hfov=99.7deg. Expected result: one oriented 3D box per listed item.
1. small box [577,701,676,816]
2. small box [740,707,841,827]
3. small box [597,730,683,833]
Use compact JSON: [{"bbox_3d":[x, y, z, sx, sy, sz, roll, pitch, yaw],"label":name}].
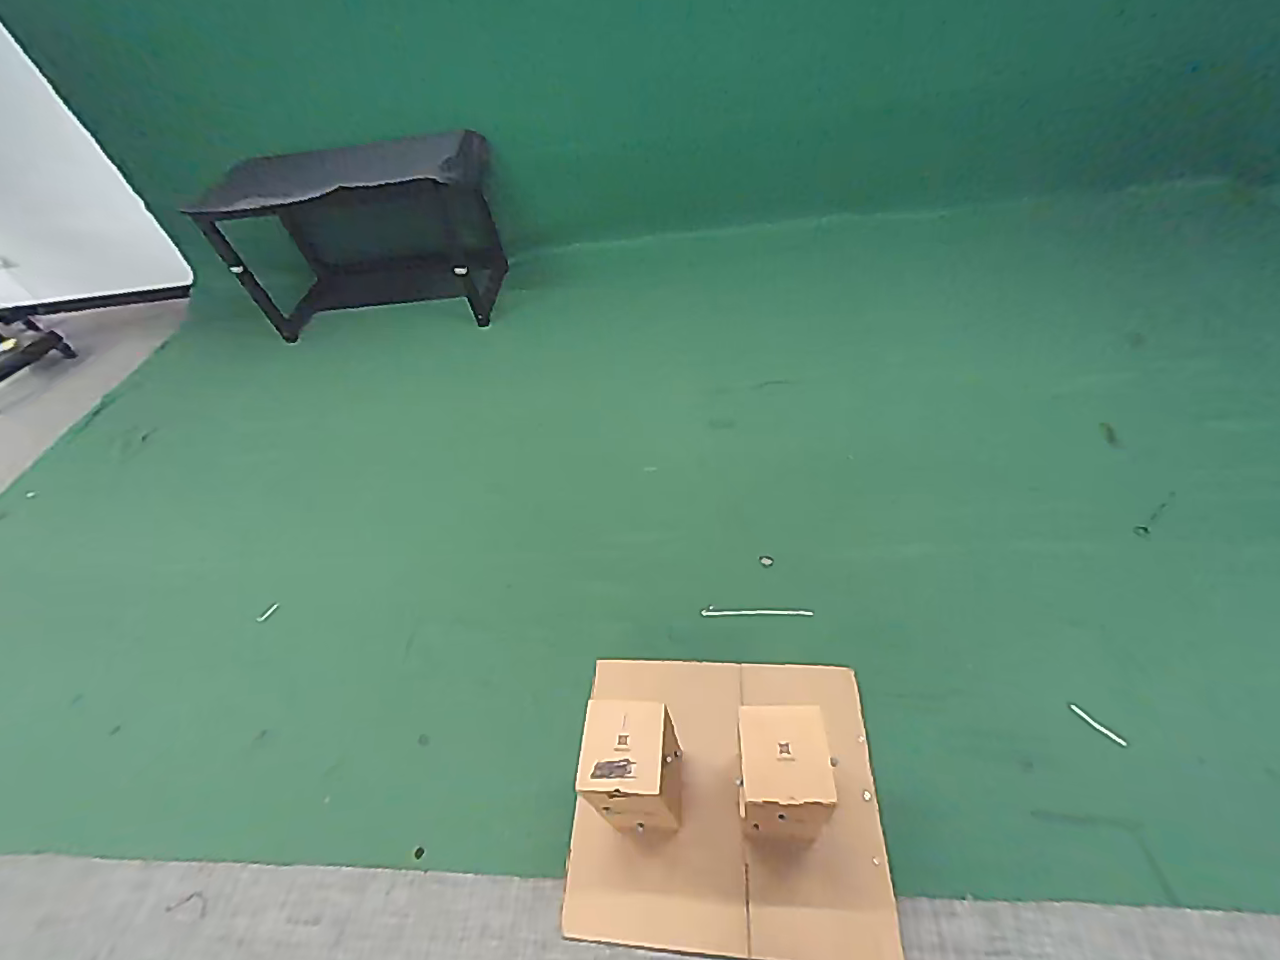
[{"bbox_3d":[-0.019,0.580,1.124,0.168,0.176,0.179,-2,47,11],"label":"small box"},{"bbox_3d":[0.288,0.571,1.077,0.168,0.176,0.179,-4,48,8],"label":"small box"},{"bbox_3d":[0.008,0.690,1.243,0.168,0.176,0.179,-4,48,10],"label":"small box"}]
